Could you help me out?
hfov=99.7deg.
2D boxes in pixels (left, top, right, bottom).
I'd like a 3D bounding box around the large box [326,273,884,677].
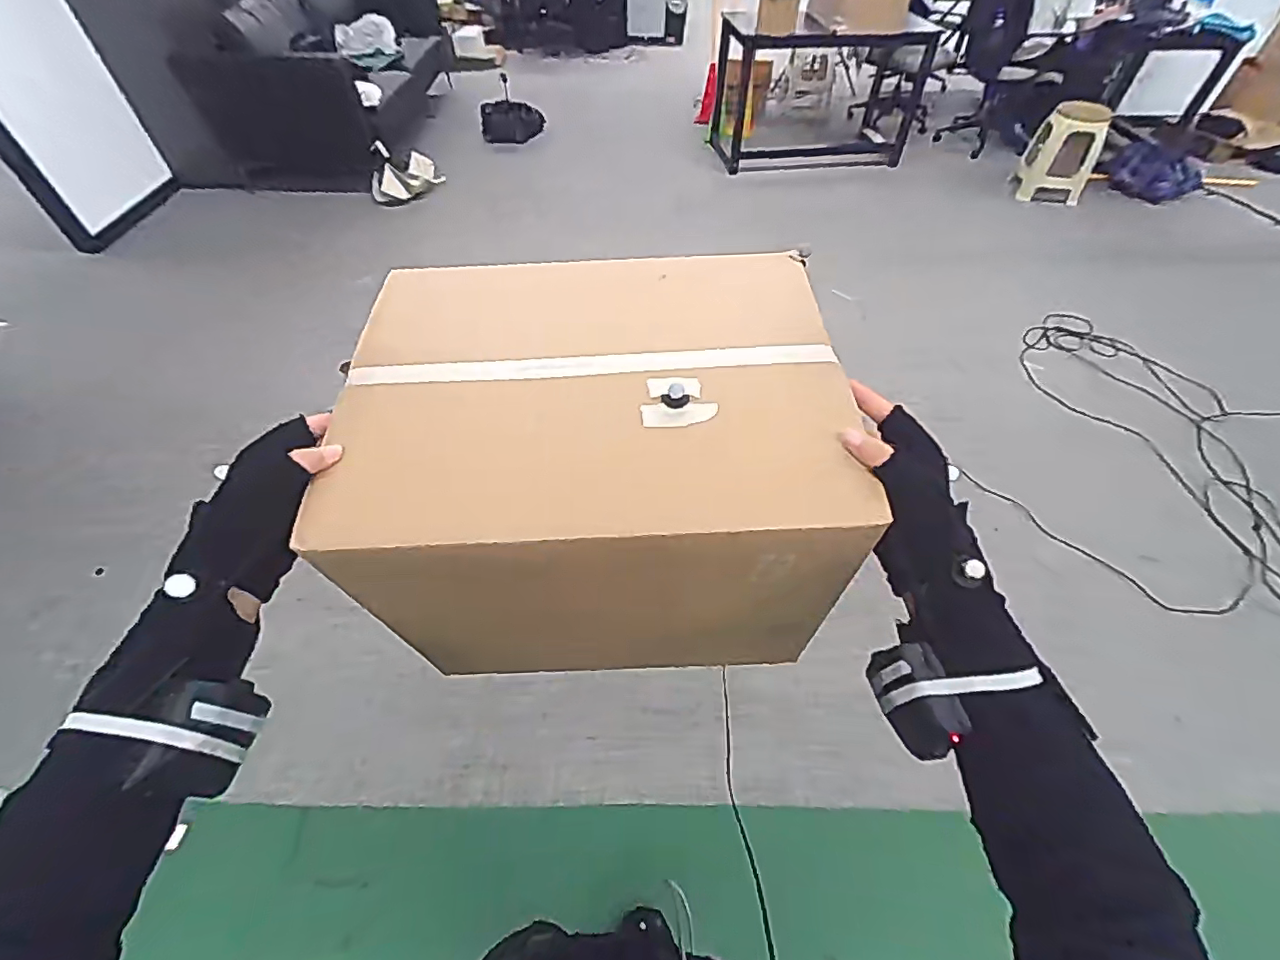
[{"bbox_3d":[-0.029,0.006,0.585,0.408,0.320,0.320,-2,55,-1],"label":"large box"}]
